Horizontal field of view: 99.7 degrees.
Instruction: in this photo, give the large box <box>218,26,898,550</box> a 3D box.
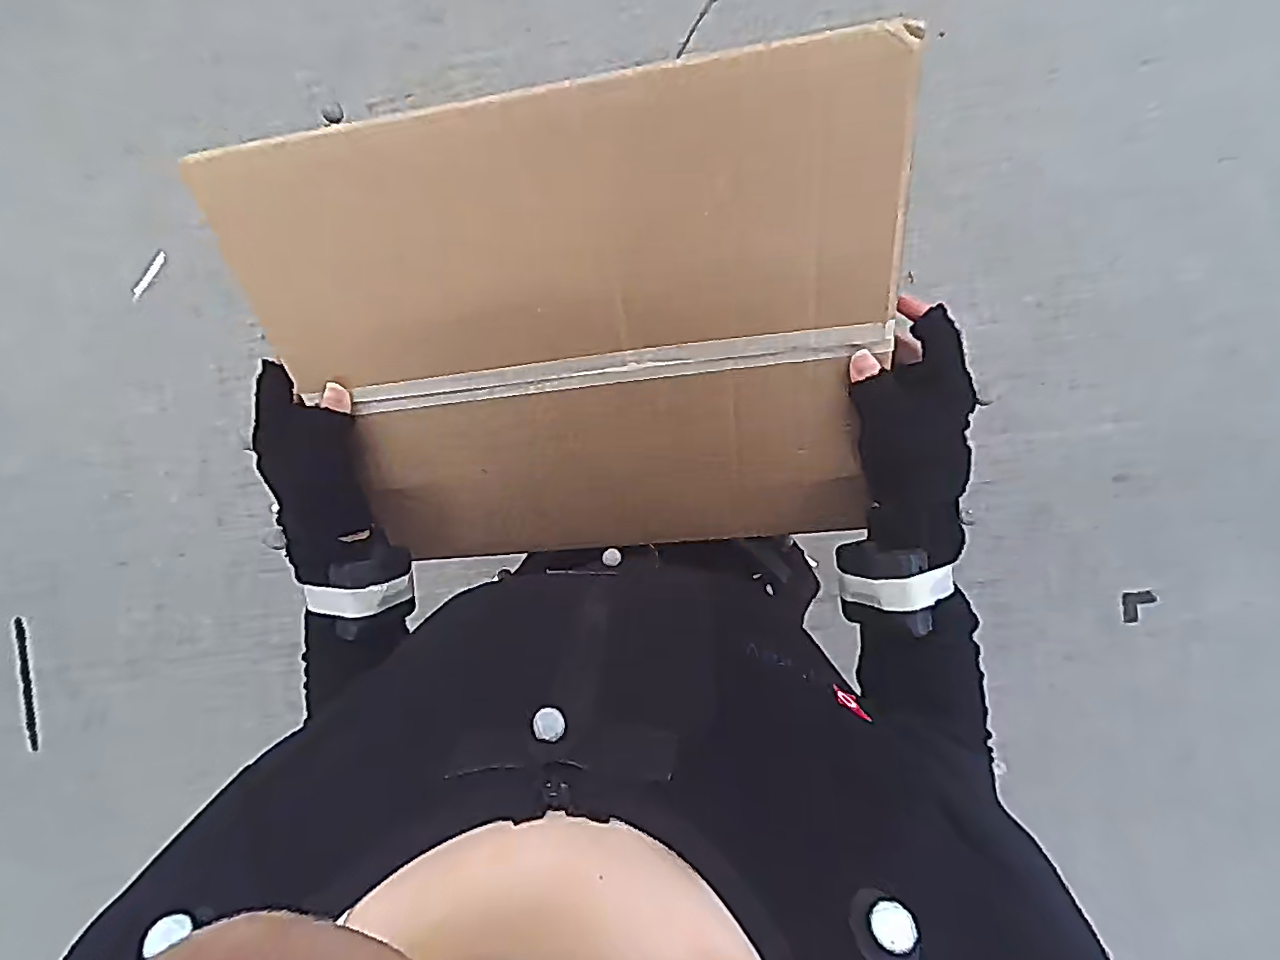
[{"bbox_3d":[-0.033,-0.164,0.502,0.408,0.320,0.320,-5,125,8],"label":"large box"}]
